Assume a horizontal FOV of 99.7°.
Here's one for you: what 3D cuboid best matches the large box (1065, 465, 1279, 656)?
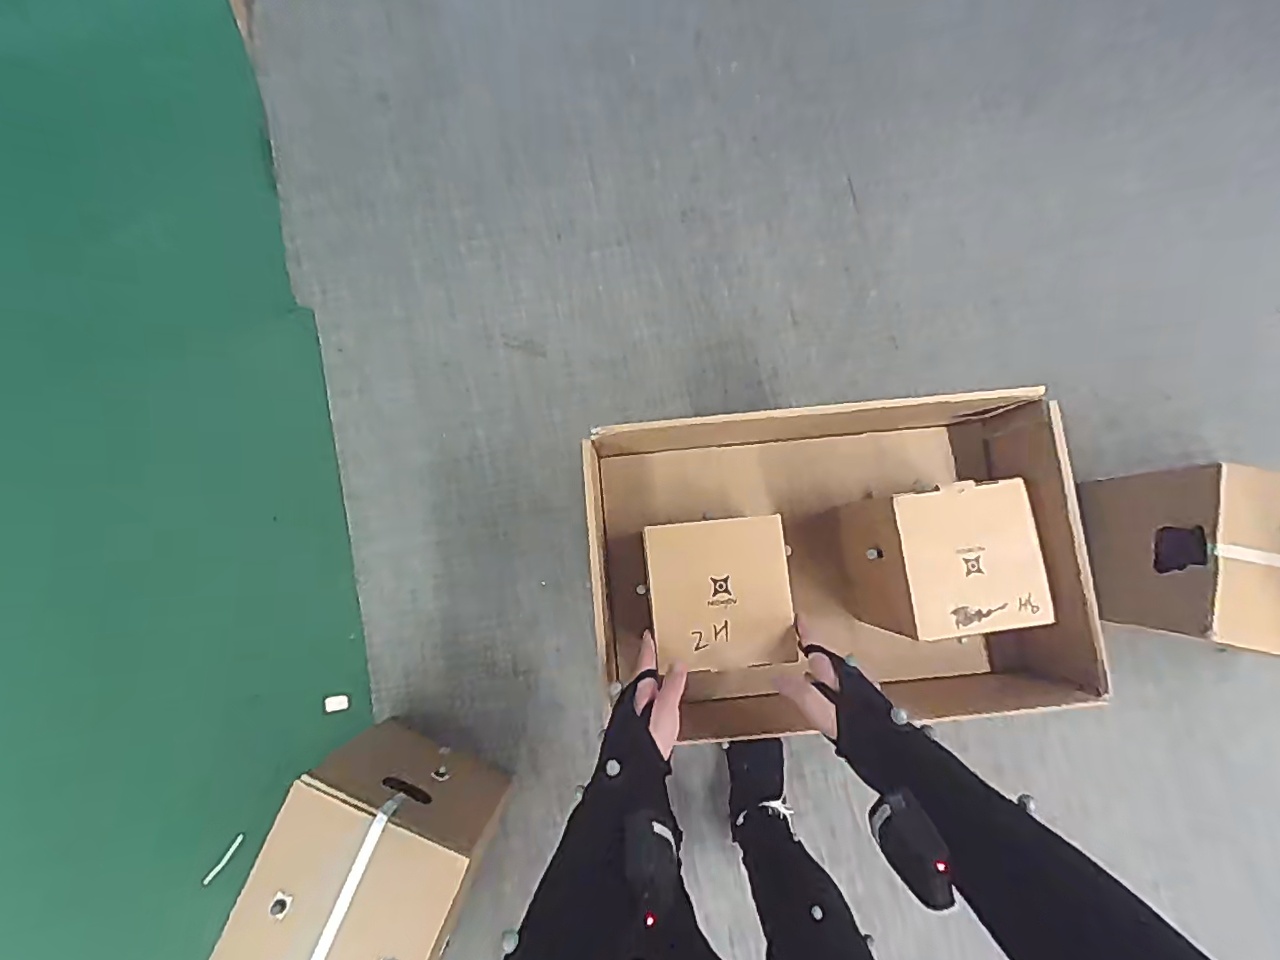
[{"bbox_3d":[1.169,0.173,1.071,0.408,0.320,0.320,11,83,2],"label":"large box"}]
